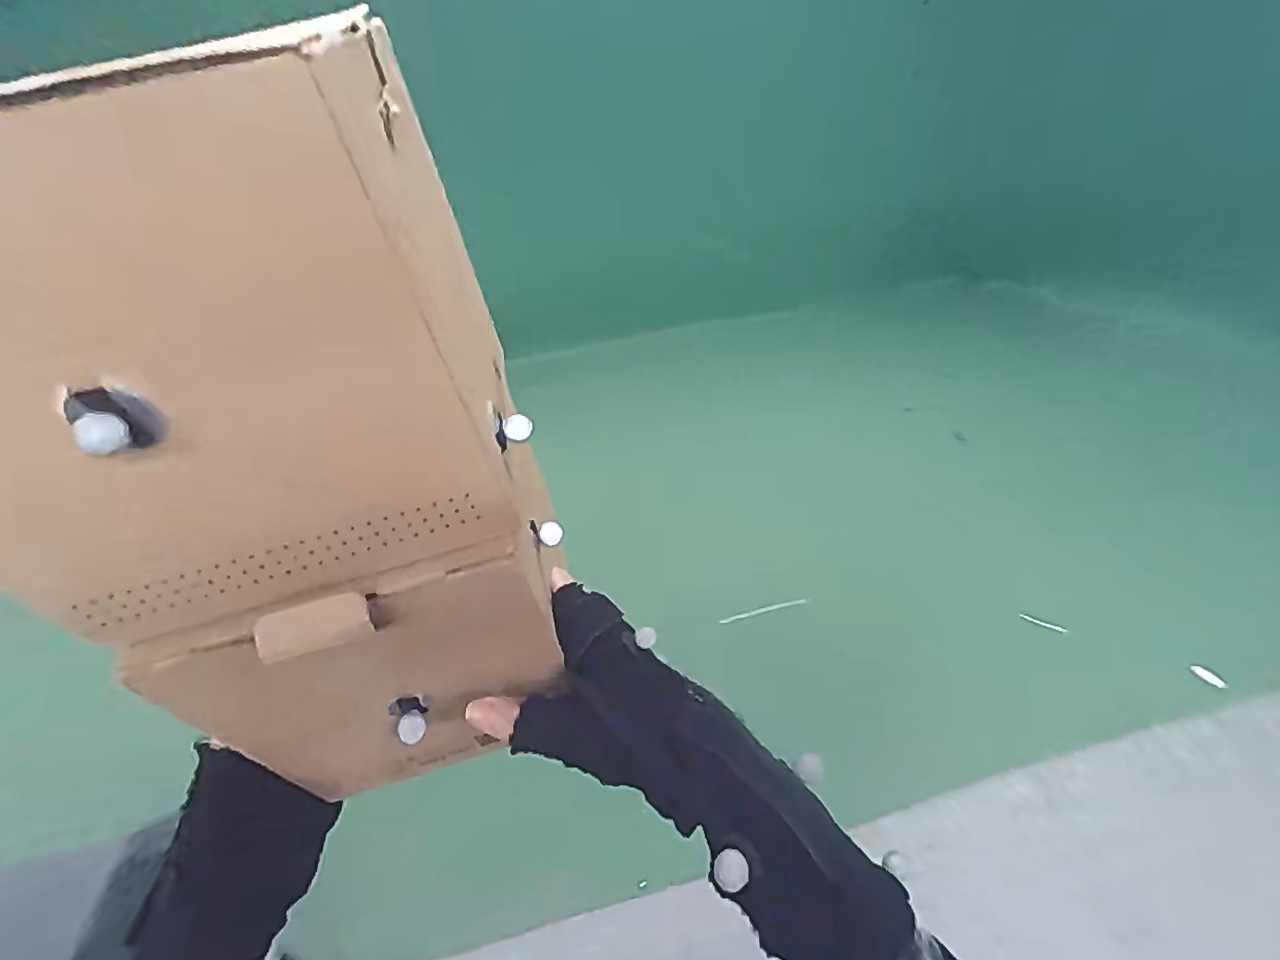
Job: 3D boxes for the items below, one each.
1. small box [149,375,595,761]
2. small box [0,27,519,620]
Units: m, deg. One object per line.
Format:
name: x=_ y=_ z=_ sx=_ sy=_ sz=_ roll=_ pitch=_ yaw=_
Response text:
small box: x=-0.132 y=0.055 z=0.343 sx=0.168 sy=0.176 sz=0.179 roll=-14 pitch=44 yaw=-3
small box: x=-0.157 y=-0.067 z=0.234 sx=0.179 sy=0.176 sz=0.168 roll=-15 pitch=43 yaw=-2
